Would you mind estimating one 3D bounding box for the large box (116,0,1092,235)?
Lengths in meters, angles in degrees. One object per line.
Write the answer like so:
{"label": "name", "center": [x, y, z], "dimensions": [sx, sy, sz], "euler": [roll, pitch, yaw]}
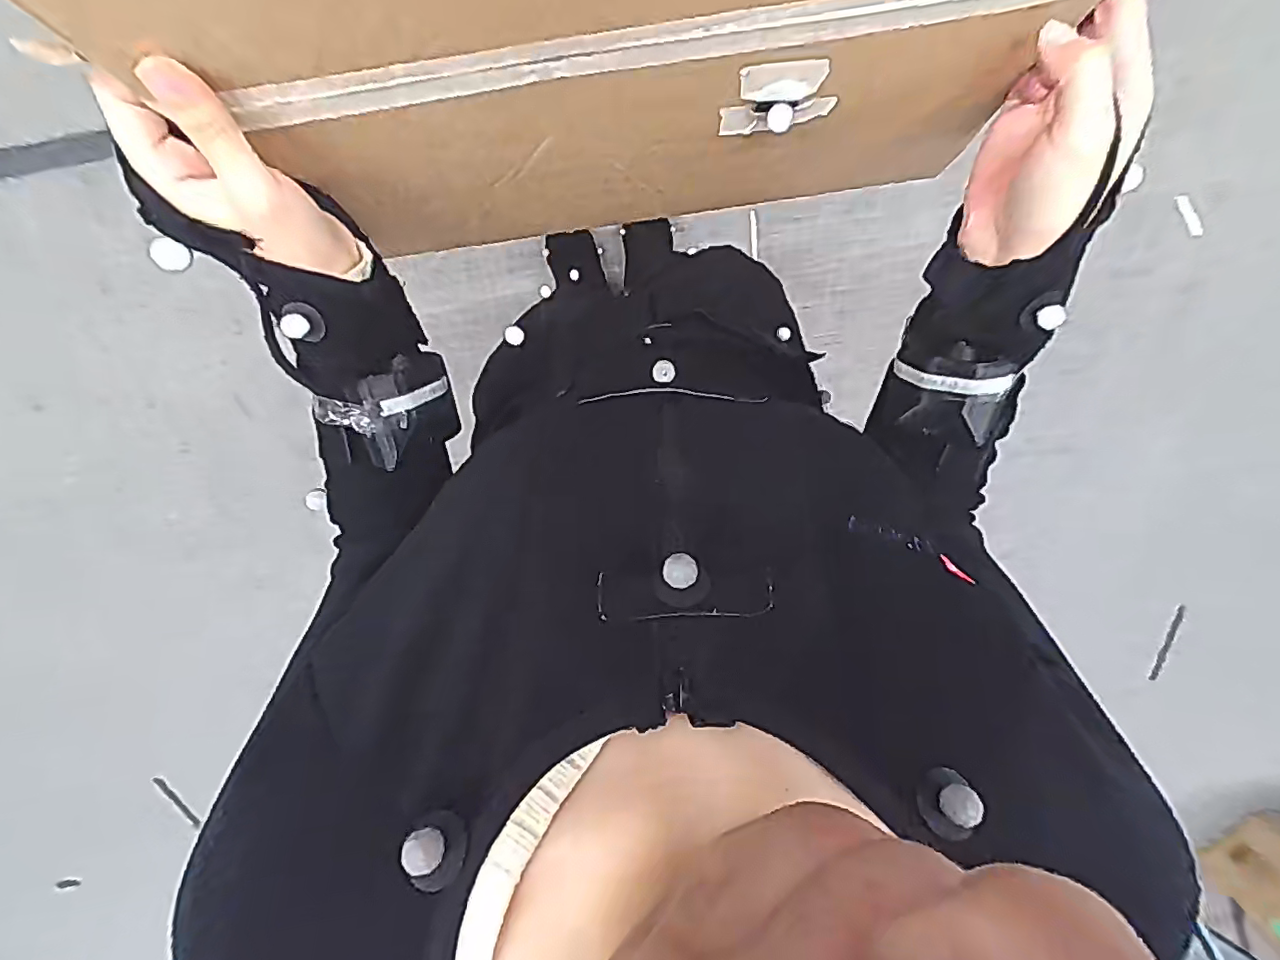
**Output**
{"label": "large box", "center": [-0.013, -0.344, 0.206], "dimensions": [0.408, 0.320, 0.320], "euler": [-9, 90, 1]}
